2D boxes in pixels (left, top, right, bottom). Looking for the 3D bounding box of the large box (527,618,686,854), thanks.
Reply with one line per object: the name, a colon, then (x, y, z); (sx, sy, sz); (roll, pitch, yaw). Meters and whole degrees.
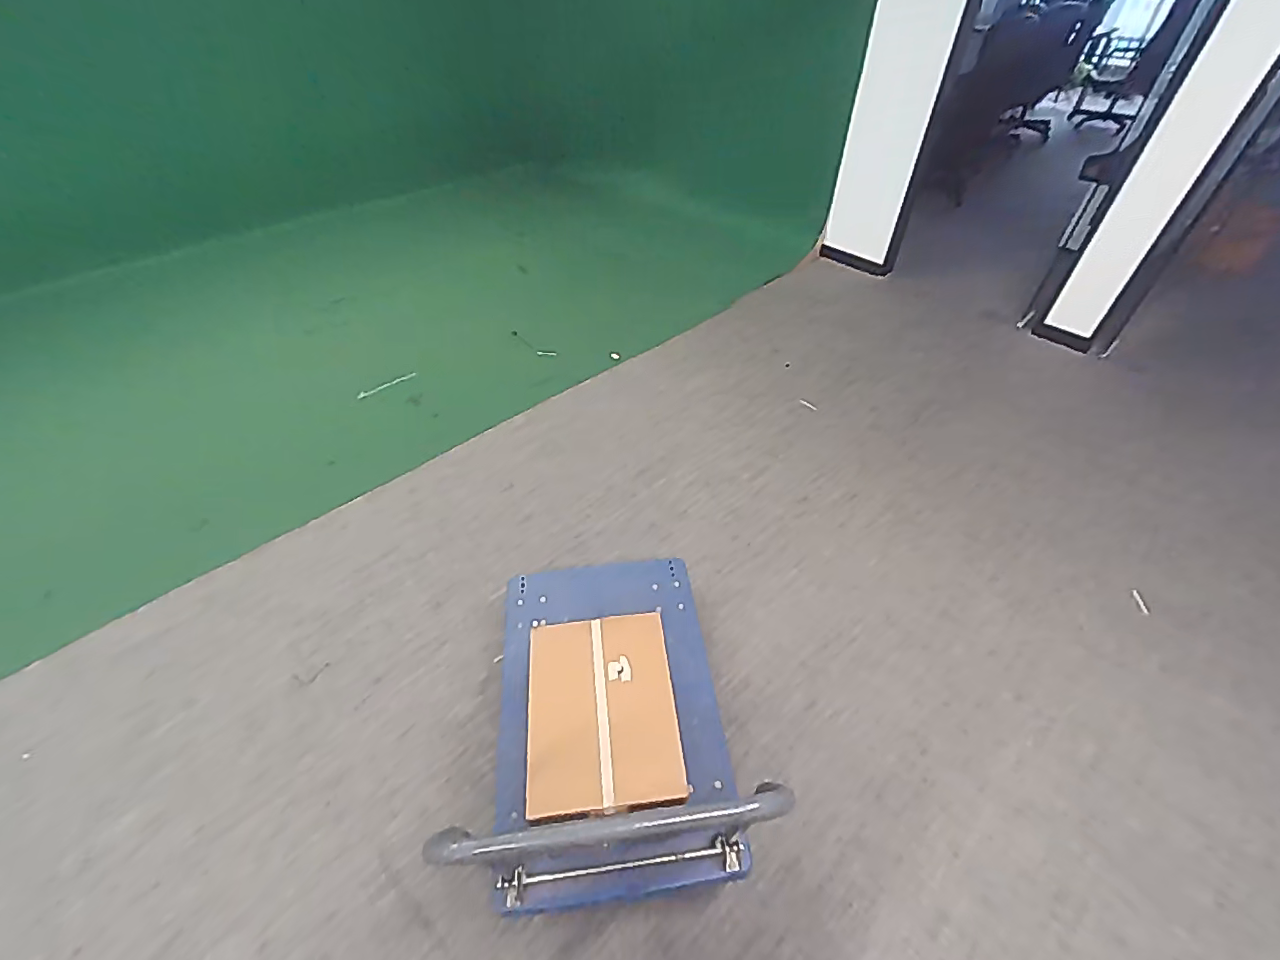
large box: (-0.082, 0.597, 1.279); (0.320, 0.320, 0.408); (-5, 45, -4)
